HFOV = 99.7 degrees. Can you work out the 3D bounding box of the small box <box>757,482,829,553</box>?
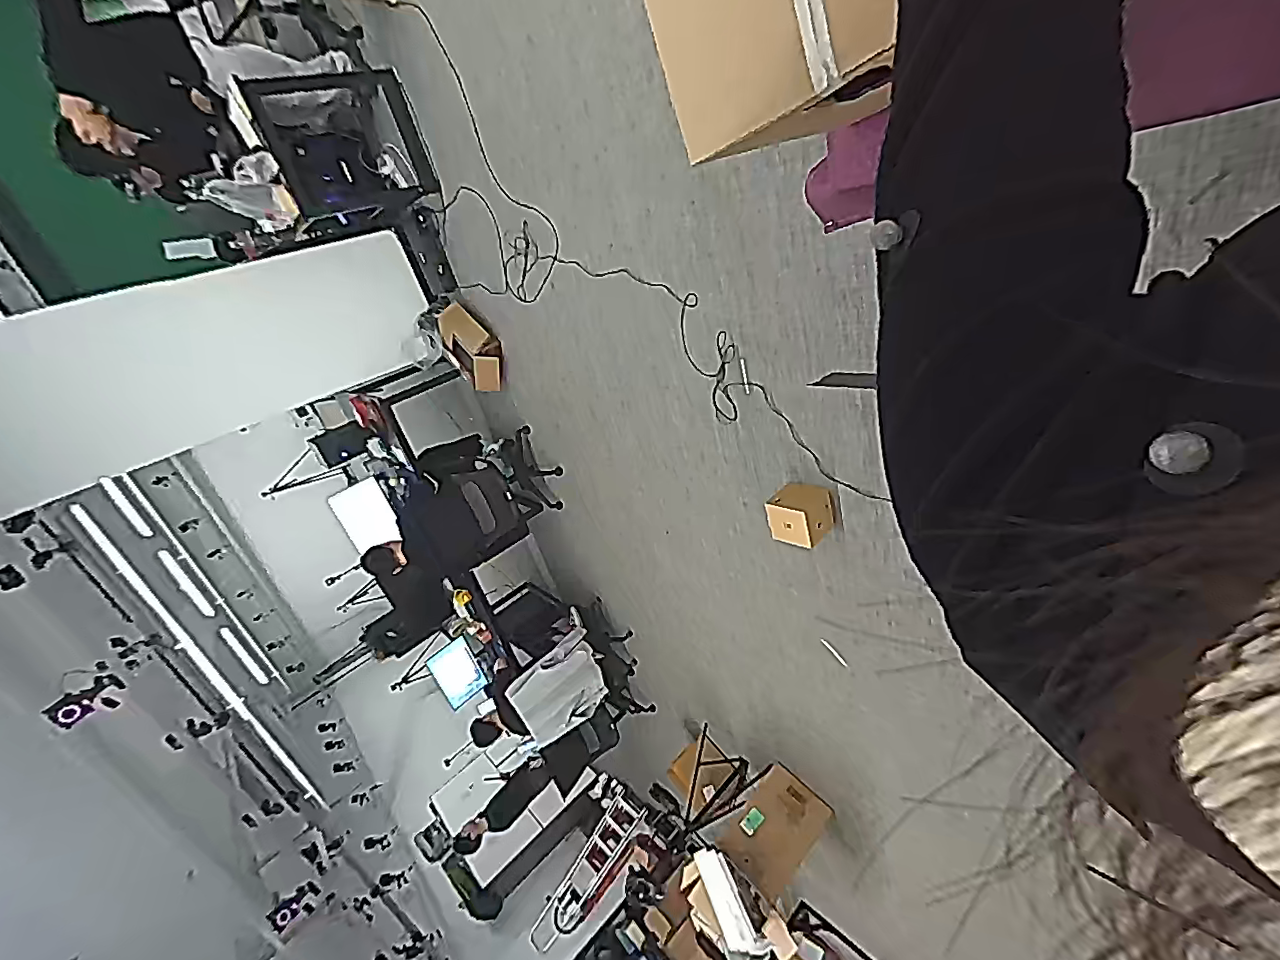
[{"bbox_3d":[0.565,0.140,2.023,0.179,0.176,0.168,51,174,-28],"label":"small box"}]
